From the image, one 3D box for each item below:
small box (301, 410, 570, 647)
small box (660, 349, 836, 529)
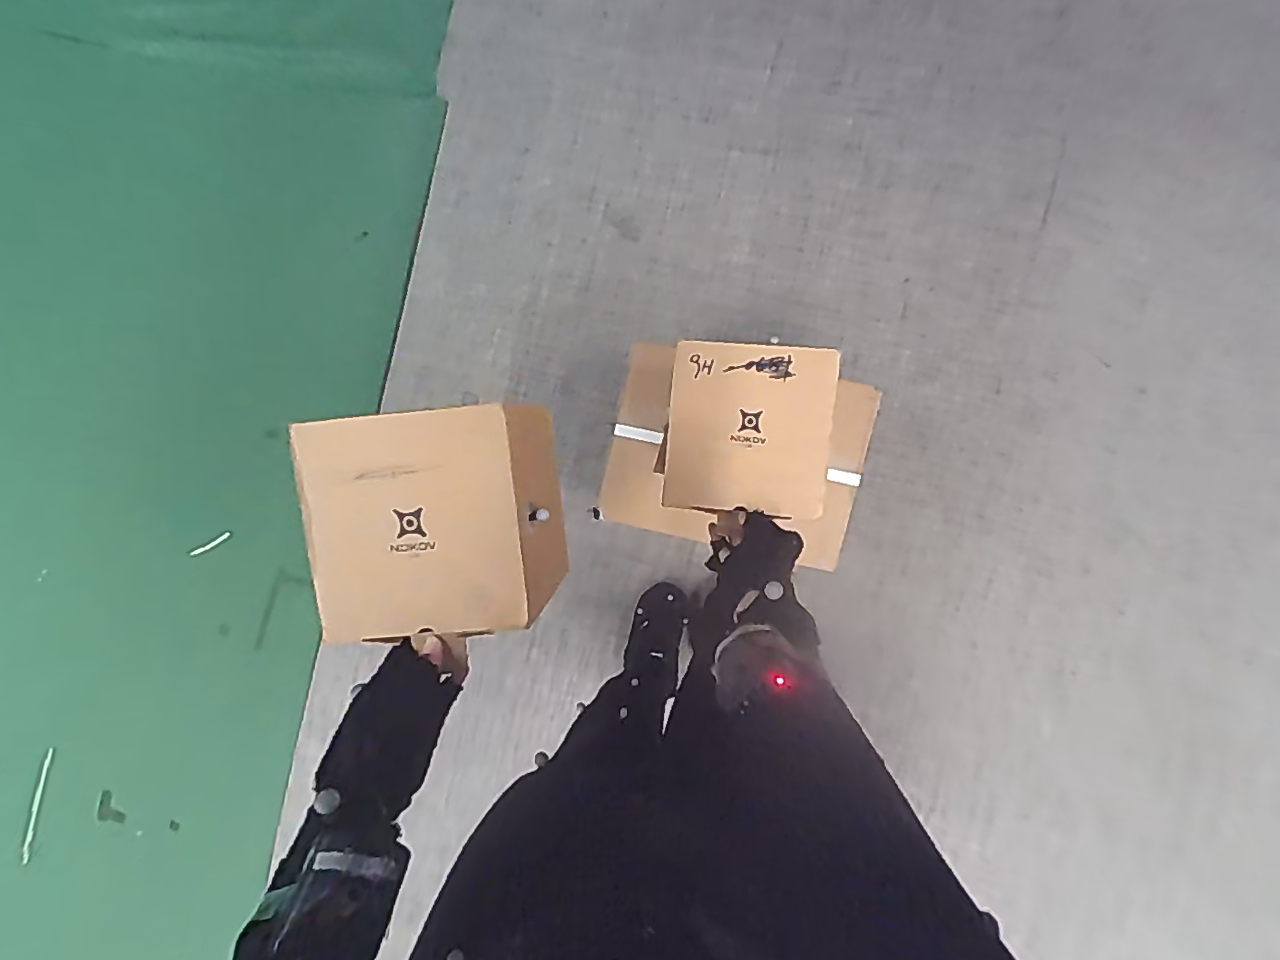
[{"bbox_3d":[-0.165,0.032,0.494,0.168,0.176,0.179,-6,95,3],"label":"small box"},{"bbox_3d":[0.121,-0.048,0.638,0.168,0.176,0.179,5,94,8],"label":"small box"}]
